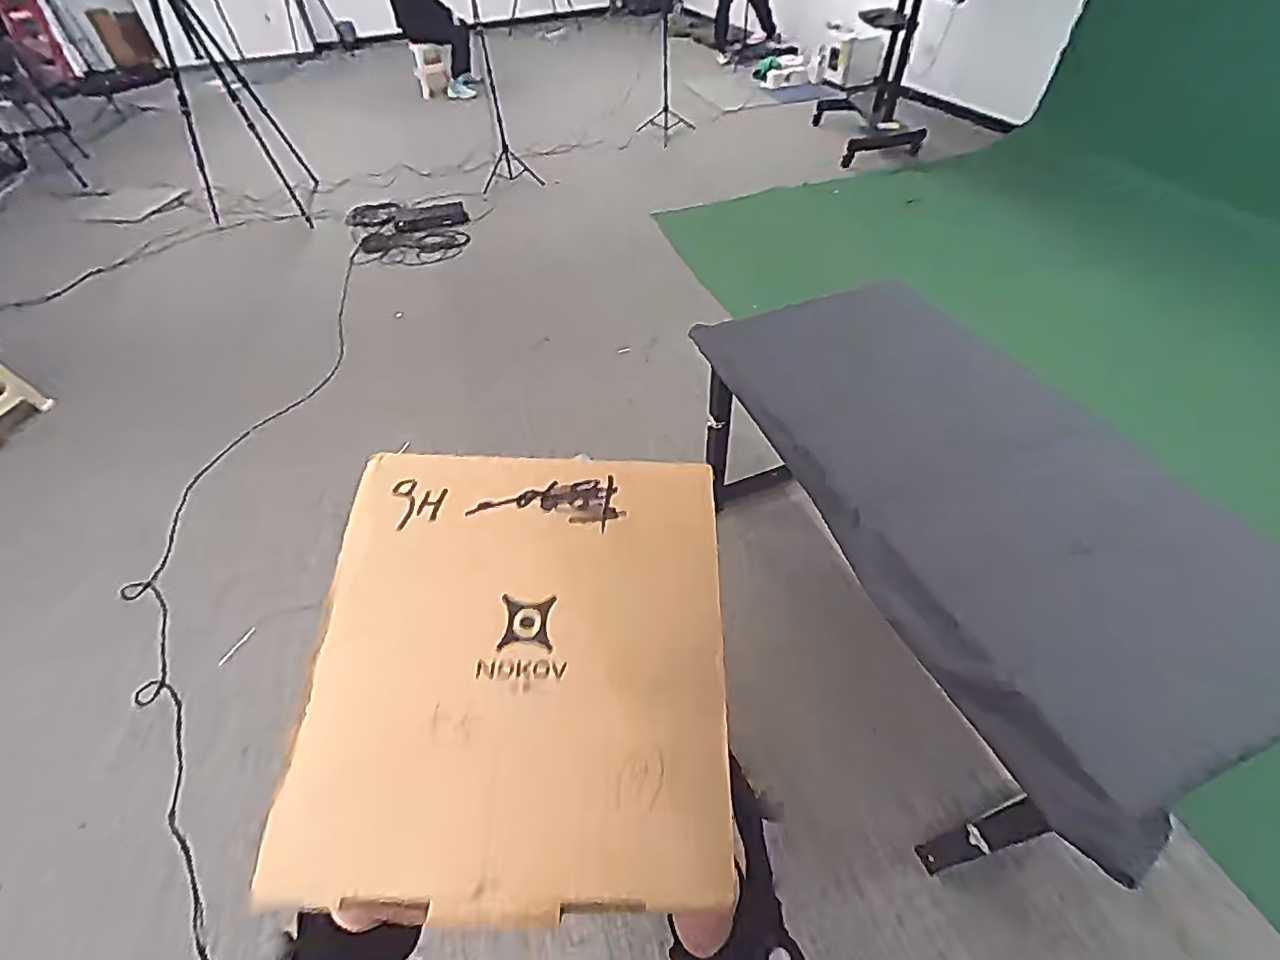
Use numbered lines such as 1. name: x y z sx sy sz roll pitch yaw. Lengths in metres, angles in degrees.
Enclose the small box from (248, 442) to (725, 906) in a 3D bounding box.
1. small box: -0.054 0.099 0.291 0.168 0.176 0.179 3 63 -4
